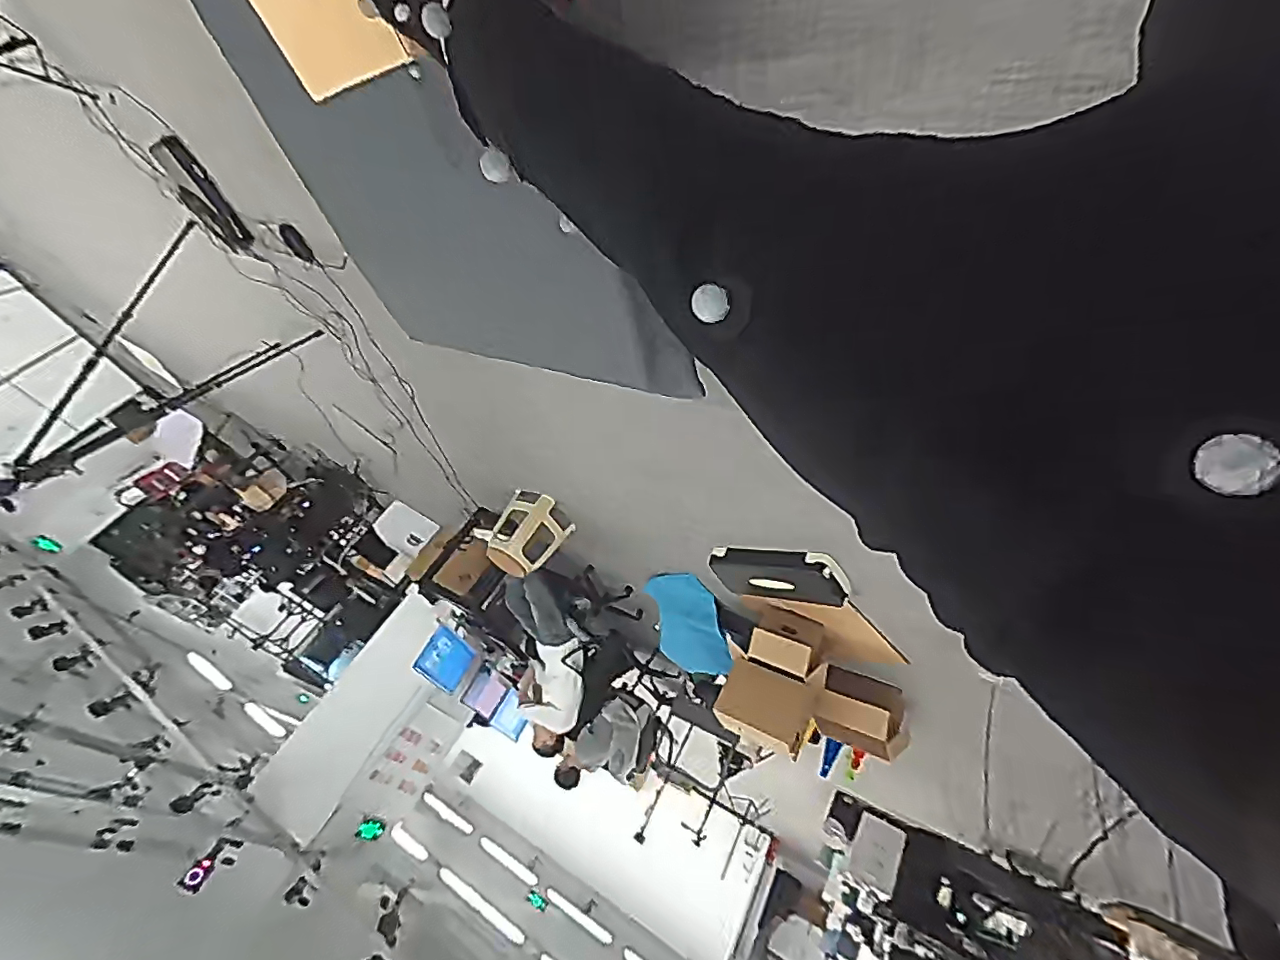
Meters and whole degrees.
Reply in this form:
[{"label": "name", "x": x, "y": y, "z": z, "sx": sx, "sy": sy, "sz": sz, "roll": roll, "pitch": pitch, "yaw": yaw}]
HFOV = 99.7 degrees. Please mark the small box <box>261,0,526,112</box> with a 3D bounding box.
[{"label": "small box", "x": -0.241, "y": -0.482, "z": 0.504, "sx": 0.179, "sy": 0.176, "sz": 0.168, "roll": 11, "pitch": 144, "yaw": 35}]
